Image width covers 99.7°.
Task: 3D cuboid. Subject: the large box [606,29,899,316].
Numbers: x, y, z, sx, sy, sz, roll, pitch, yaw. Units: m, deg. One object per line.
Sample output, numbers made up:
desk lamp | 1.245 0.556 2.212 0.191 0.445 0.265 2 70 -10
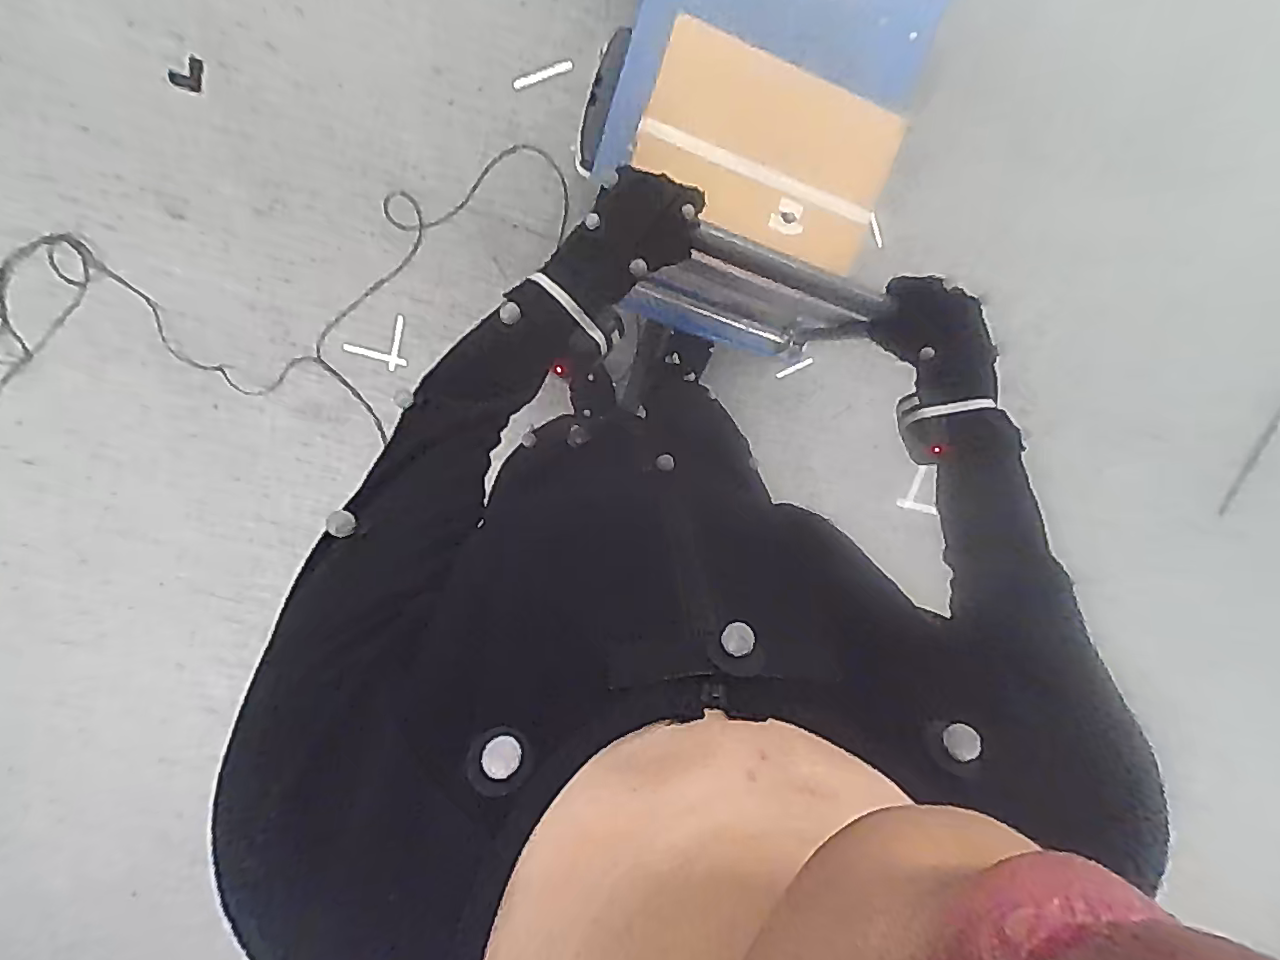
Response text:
large box | 0.171 -0.523 1.016 0.408 0.320 0.320 17 104 -11
